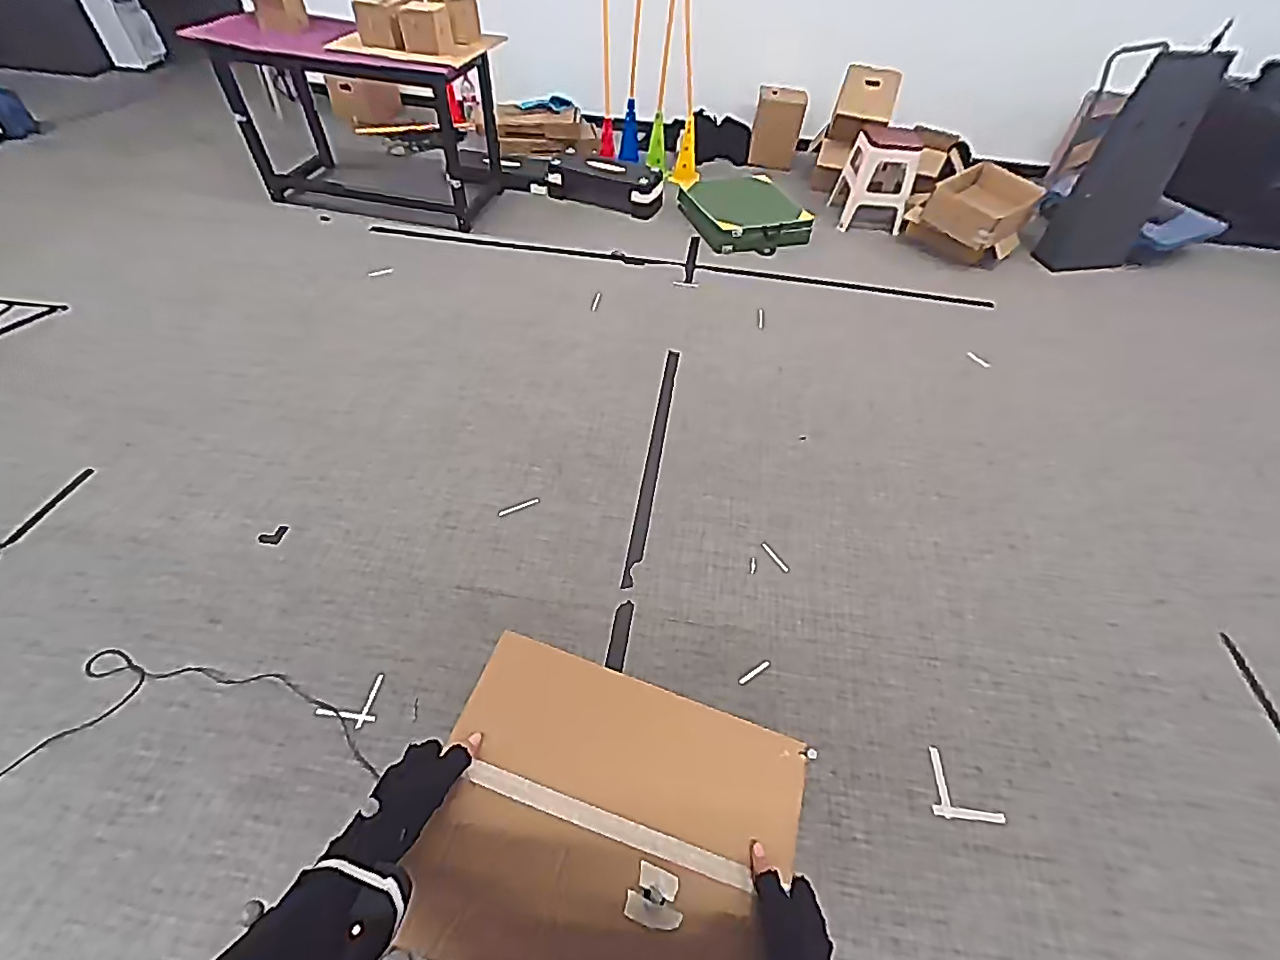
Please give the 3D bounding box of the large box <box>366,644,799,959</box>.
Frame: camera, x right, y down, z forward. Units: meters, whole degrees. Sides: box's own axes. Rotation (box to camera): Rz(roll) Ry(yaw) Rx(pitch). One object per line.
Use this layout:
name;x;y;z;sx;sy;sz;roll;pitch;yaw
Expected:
large box;-0.056;0.471;0.712;0.408;0.320;0.320;19;54;5
